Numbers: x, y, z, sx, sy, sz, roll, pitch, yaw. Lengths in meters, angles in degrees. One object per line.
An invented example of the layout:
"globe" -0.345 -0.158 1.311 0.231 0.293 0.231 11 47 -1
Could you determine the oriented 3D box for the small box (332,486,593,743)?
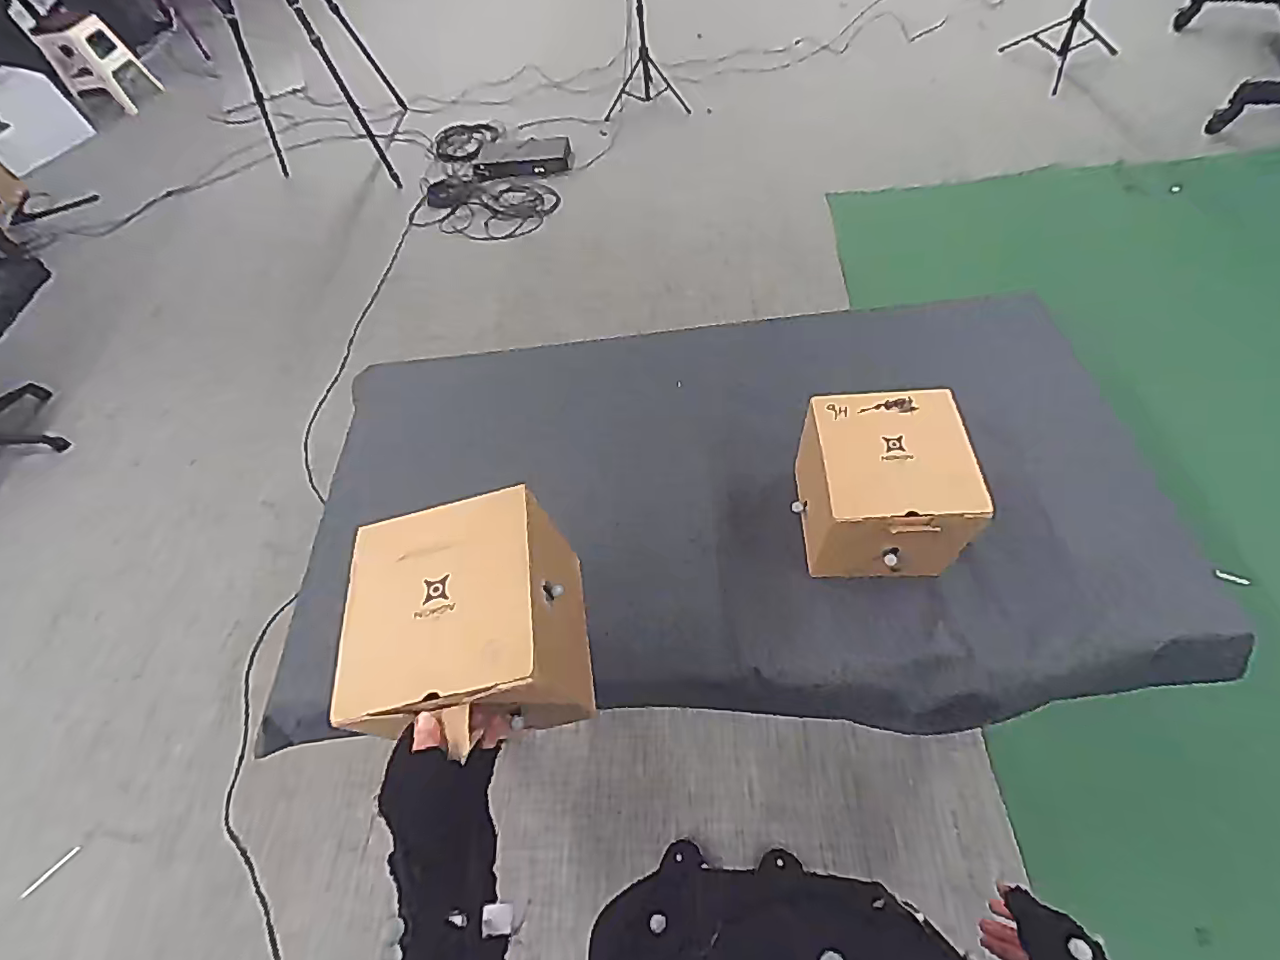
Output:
"small box" -0.149 0.137 0.509 0.168 0.176 0.179 -14 55 4
